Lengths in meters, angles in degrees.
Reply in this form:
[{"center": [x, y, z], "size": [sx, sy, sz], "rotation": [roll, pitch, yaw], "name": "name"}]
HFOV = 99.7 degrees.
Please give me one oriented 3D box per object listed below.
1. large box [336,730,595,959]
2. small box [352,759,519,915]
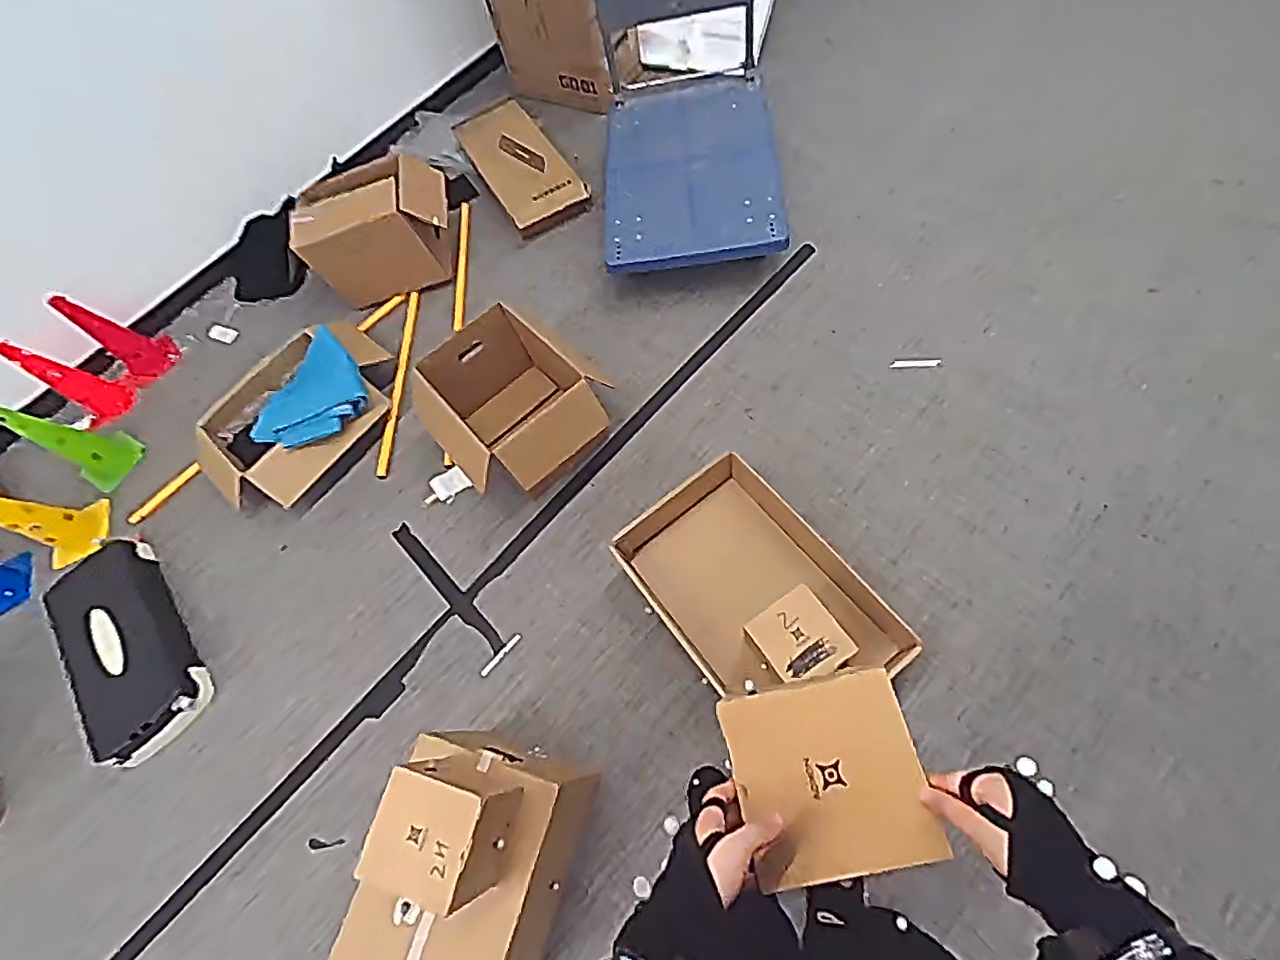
[{"center": [-0.321, 0.771, 1.113], "size": [0.320, 0.320, 0.408], "rotation": [11, 69, 16], "name": "large box"}, {"center": [-0.335, 0.590, 0.923], "size": [0.179, 0.176, 0.168], "rotation": [11, 70, 15], "name": "small box"}]
